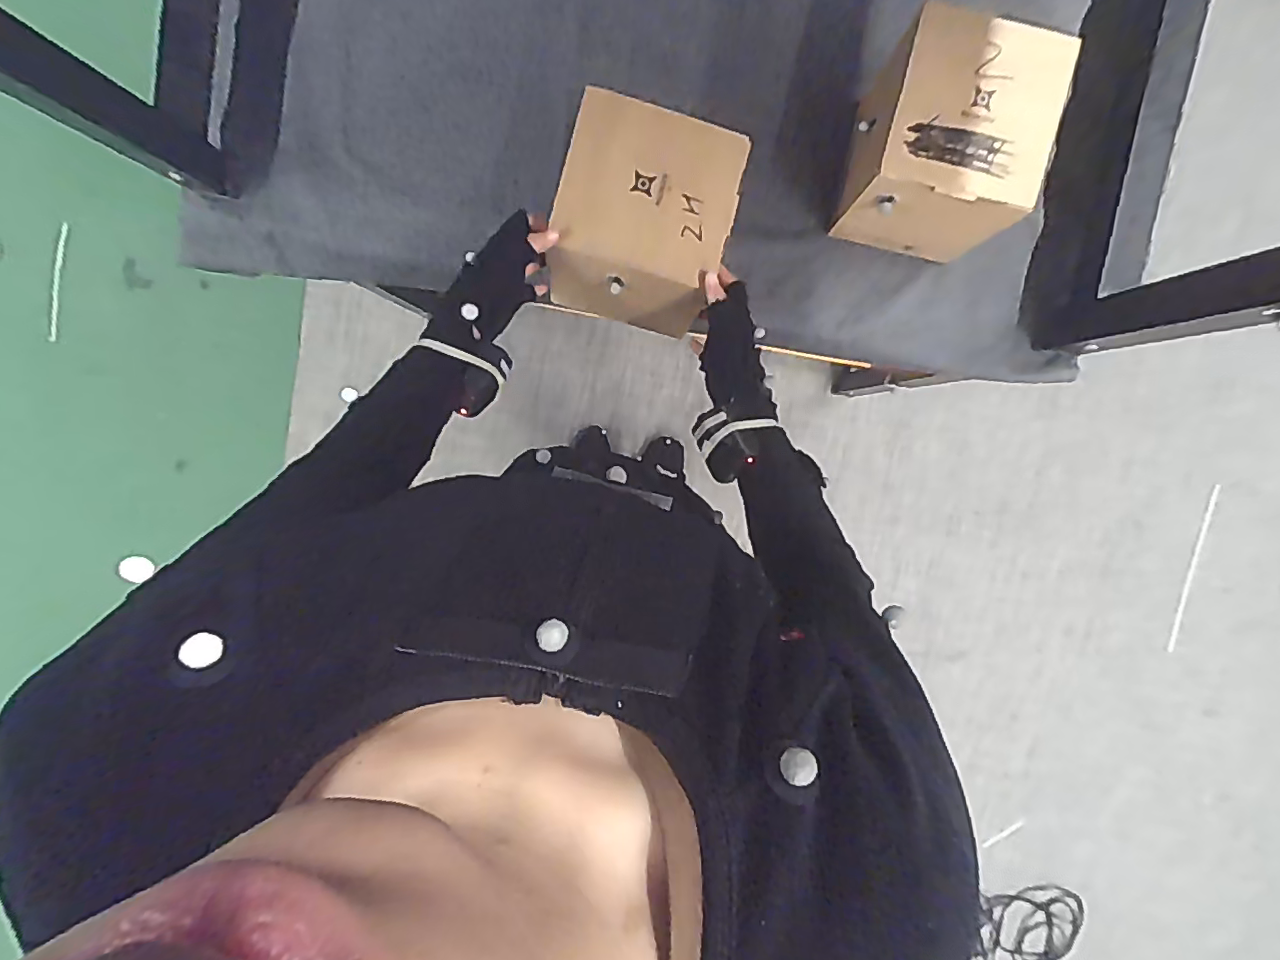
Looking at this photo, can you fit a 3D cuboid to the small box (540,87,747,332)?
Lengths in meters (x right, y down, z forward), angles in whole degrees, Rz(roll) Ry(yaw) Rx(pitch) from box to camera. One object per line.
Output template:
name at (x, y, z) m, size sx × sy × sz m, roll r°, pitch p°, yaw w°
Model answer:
small box at (-0.003, -0.287, 0.617) m, size 0.179 × 0.176 × 0.168 m, roll 15°, pitch 87°, yaw -6°
